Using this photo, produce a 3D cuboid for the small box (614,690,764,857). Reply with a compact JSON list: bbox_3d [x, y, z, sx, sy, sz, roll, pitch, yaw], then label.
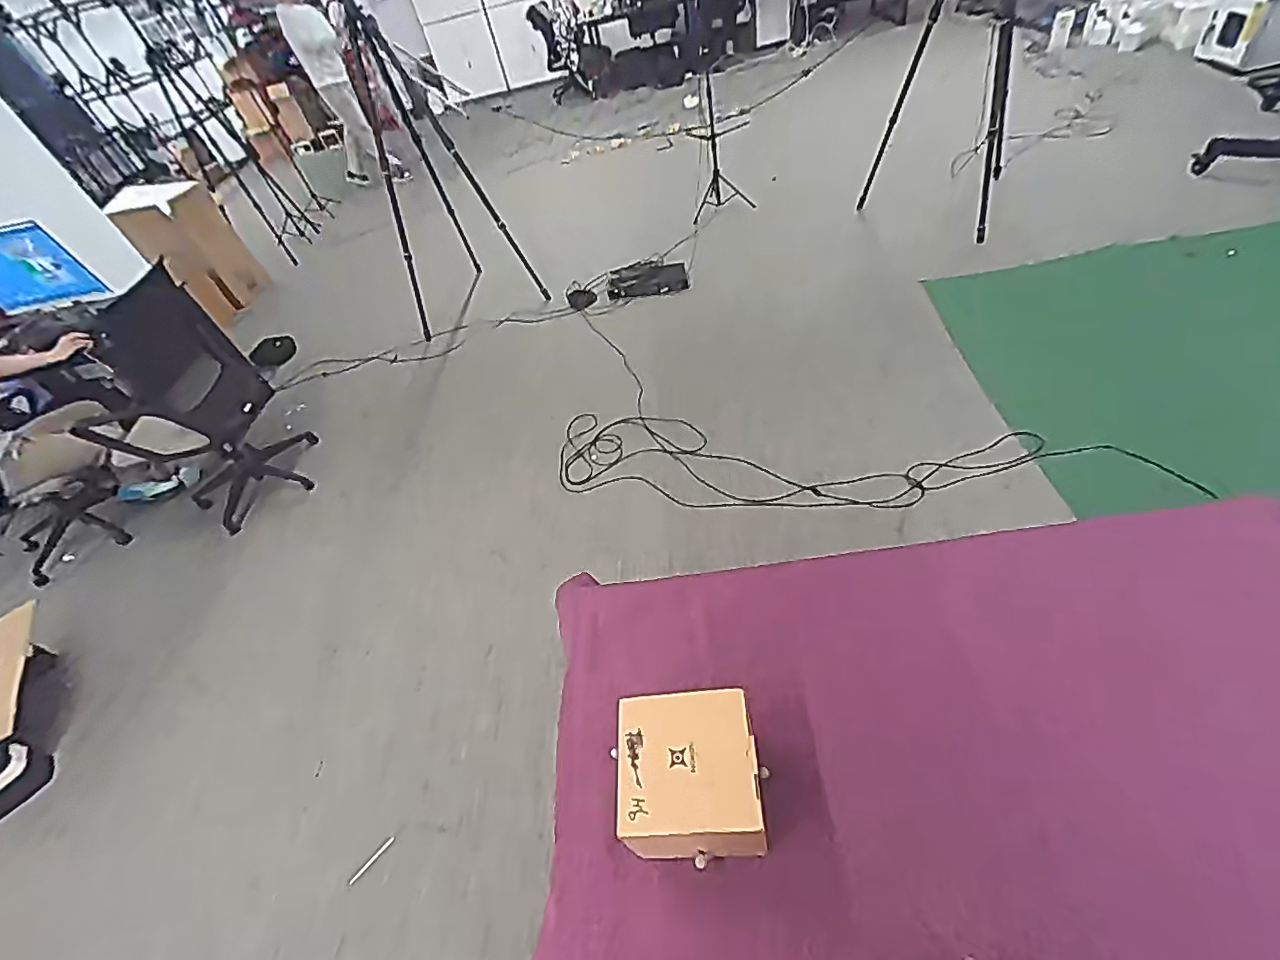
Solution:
[{"bbox_3d":[0.069,0.402,0.737,0.179,0.176,0.168,-7,47,7],"label":"small box"}]
